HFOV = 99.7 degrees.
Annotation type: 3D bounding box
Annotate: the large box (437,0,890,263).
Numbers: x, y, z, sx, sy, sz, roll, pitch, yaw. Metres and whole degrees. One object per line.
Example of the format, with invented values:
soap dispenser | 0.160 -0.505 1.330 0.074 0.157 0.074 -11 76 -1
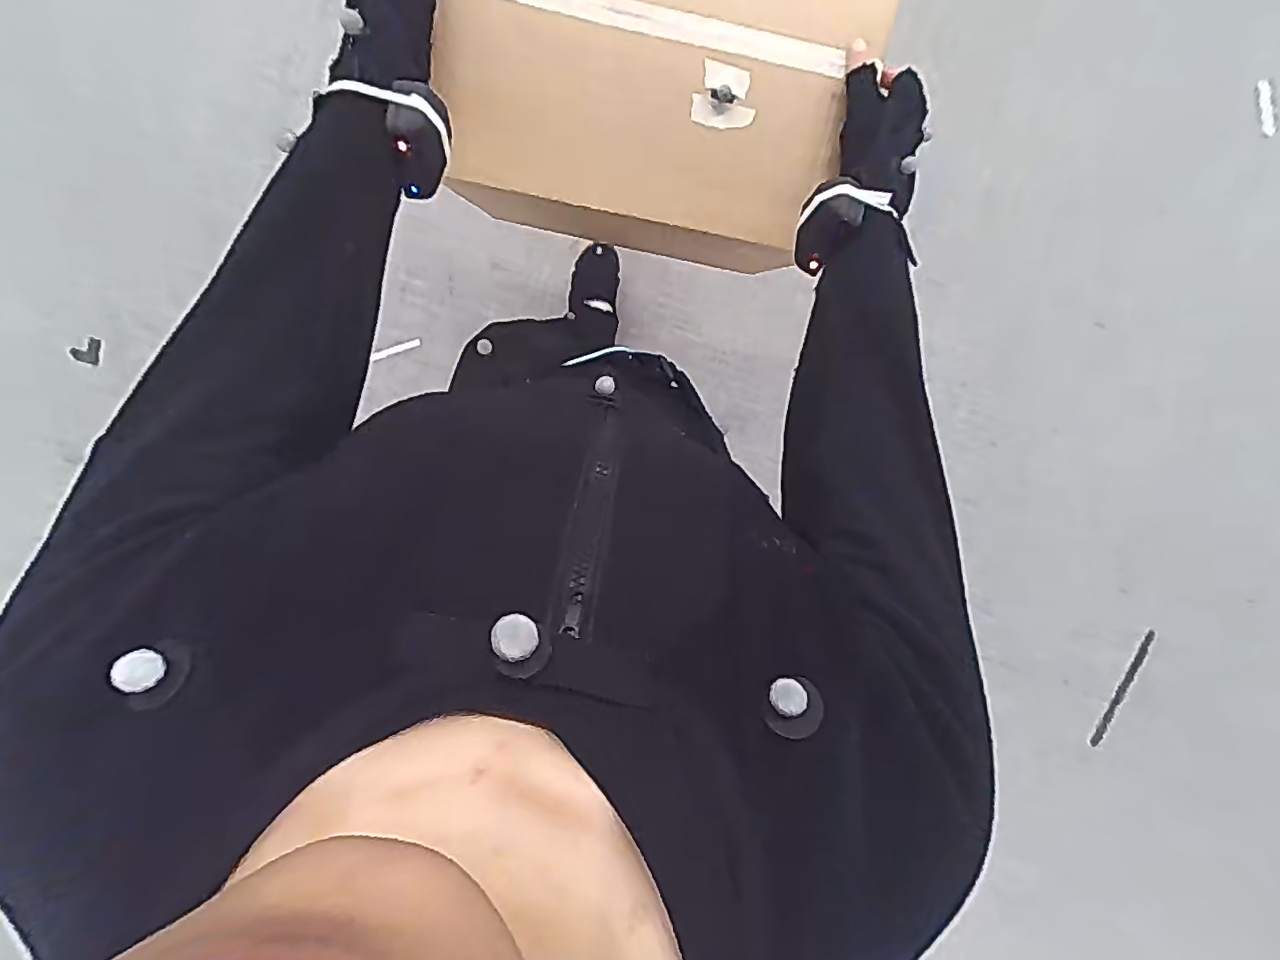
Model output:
large box | 0.015 -0.460 0.634 0.408 0.320 0.320 9 109 -6
